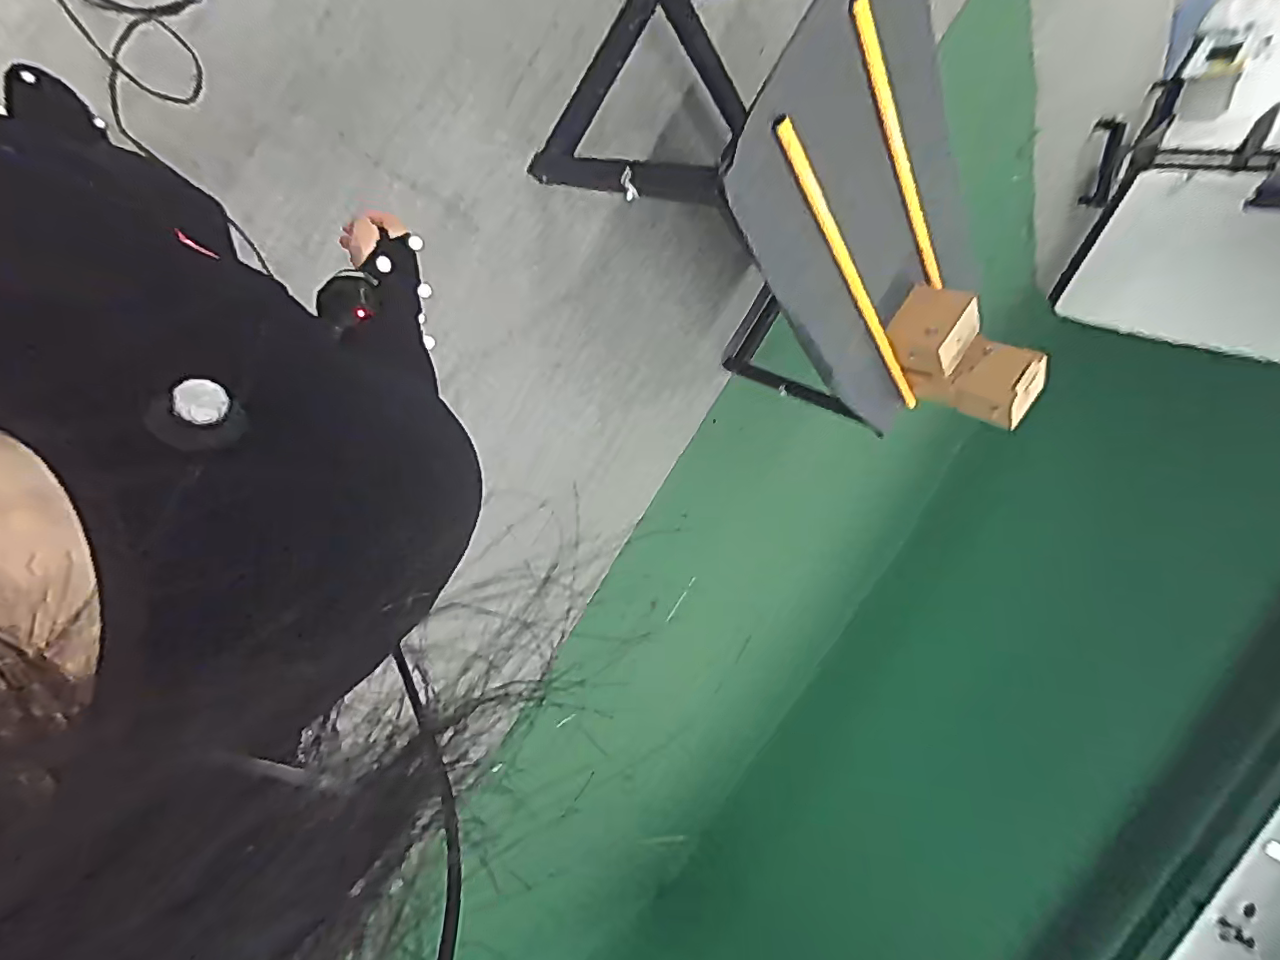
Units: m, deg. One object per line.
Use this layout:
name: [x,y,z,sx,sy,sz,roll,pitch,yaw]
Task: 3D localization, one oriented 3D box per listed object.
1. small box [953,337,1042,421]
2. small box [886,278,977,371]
small box: [1.065,-0.308,1.618,0.168,0.176,0.179,-55,140,0]
small box: [0.830,-0.449,1.552,0.168,0.176,0.179,32,92,-50]
